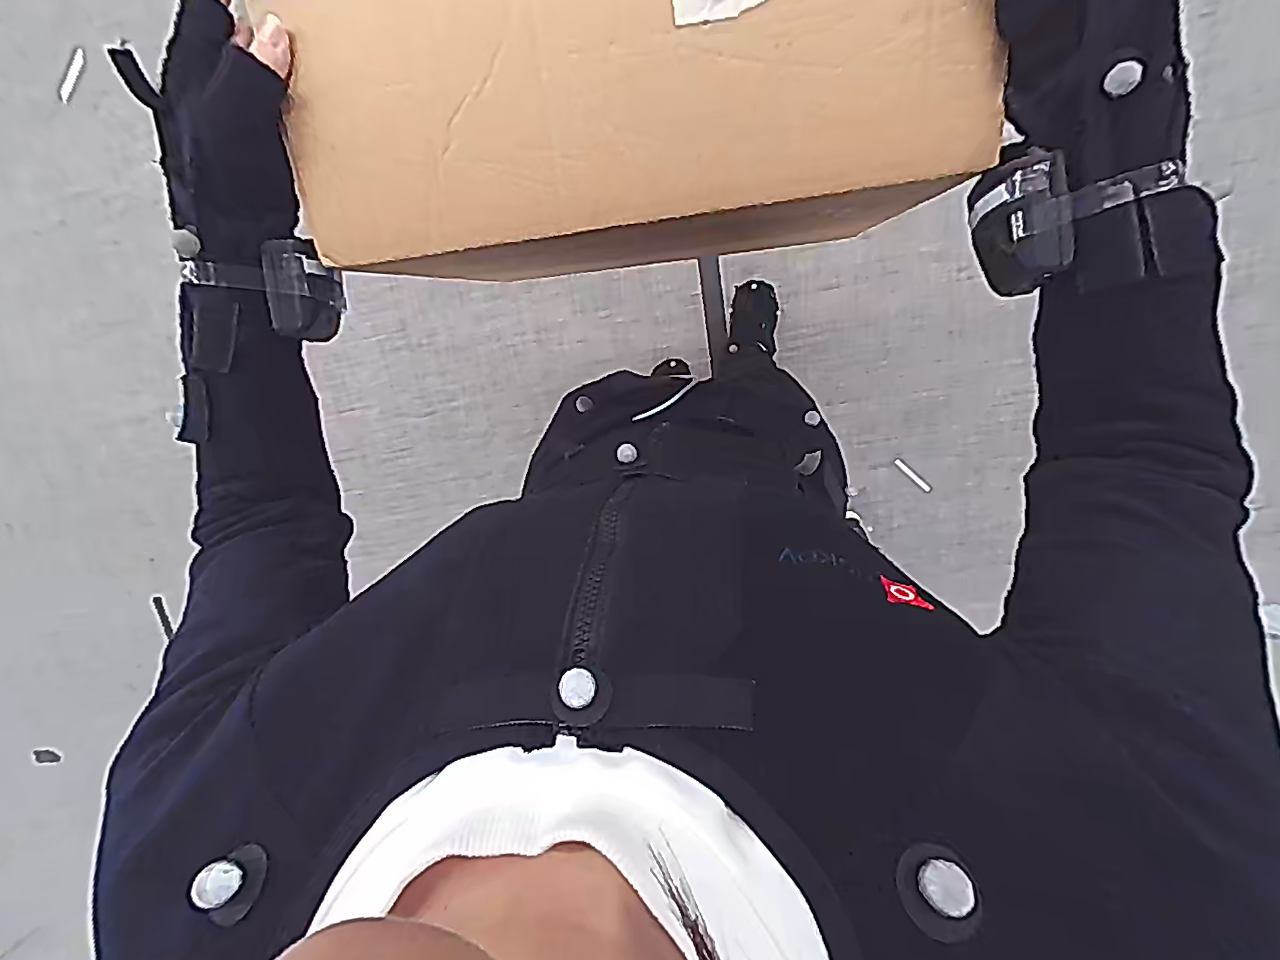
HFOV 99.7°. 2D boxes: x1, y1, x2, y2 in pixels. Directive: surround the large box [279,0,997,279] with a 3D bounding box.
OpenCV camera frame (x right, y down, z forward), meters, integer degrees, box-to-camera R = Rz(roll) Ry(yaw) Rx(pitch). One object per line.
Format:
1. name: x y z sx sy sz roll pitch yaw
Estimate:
1. large box: -0.003 -0.356 0.428 0.408 0.320 0.320 -5 108 9
